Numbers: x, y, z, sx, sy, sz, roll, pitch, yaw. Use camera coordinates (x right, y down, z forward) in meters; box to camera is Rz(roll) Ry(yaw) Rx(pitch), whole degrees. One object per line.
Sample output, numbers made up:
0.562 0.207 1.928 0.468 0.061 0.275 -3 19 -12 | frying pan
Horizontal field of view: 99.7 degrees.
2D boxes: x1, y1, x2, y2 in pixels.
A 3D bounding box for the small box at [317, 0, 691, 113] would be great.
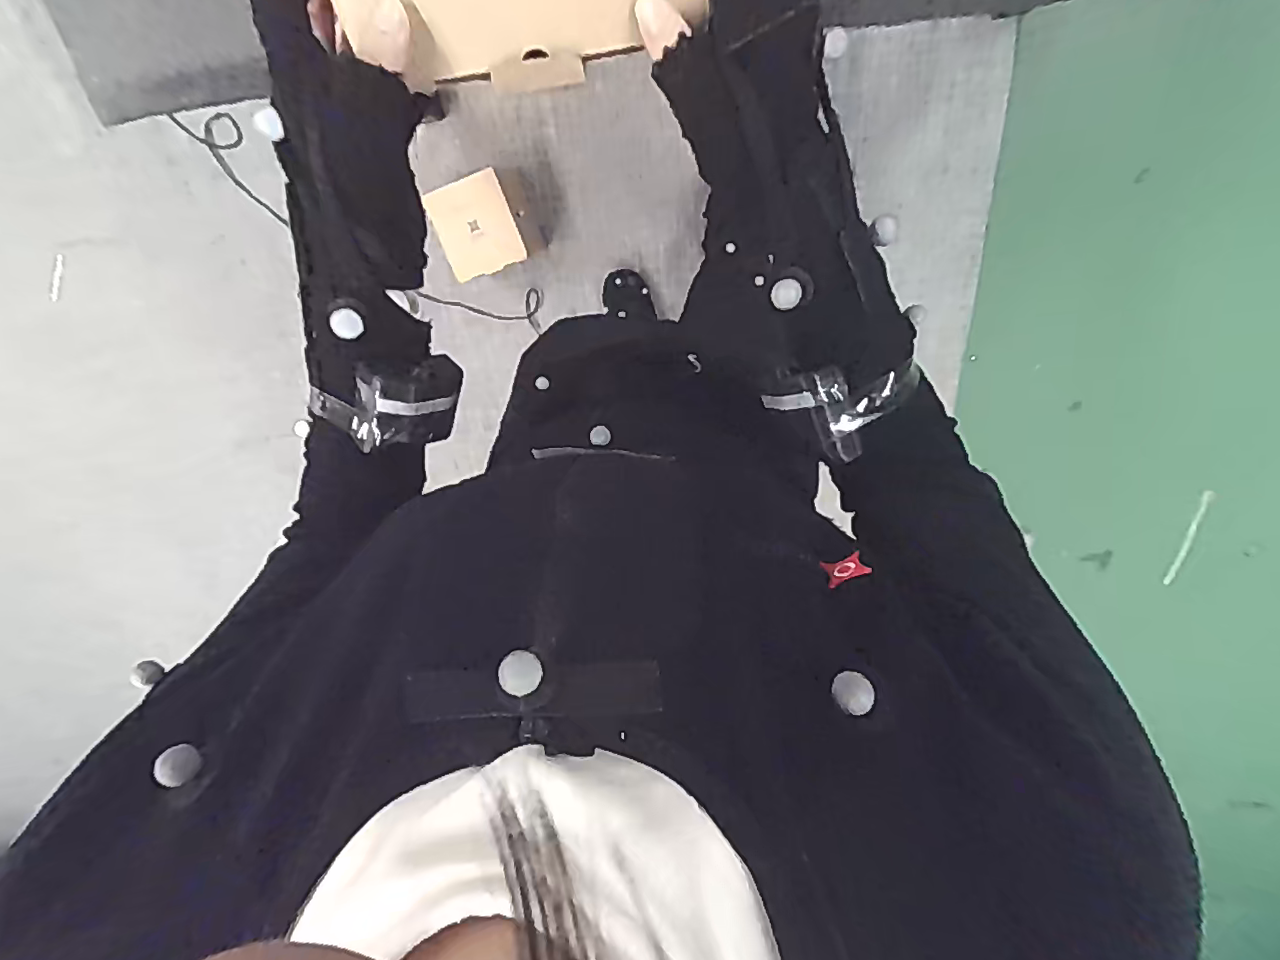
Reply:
-0.070 -0.309 0.250 0.168 0.176 0.179 -8 138 7 | small box
